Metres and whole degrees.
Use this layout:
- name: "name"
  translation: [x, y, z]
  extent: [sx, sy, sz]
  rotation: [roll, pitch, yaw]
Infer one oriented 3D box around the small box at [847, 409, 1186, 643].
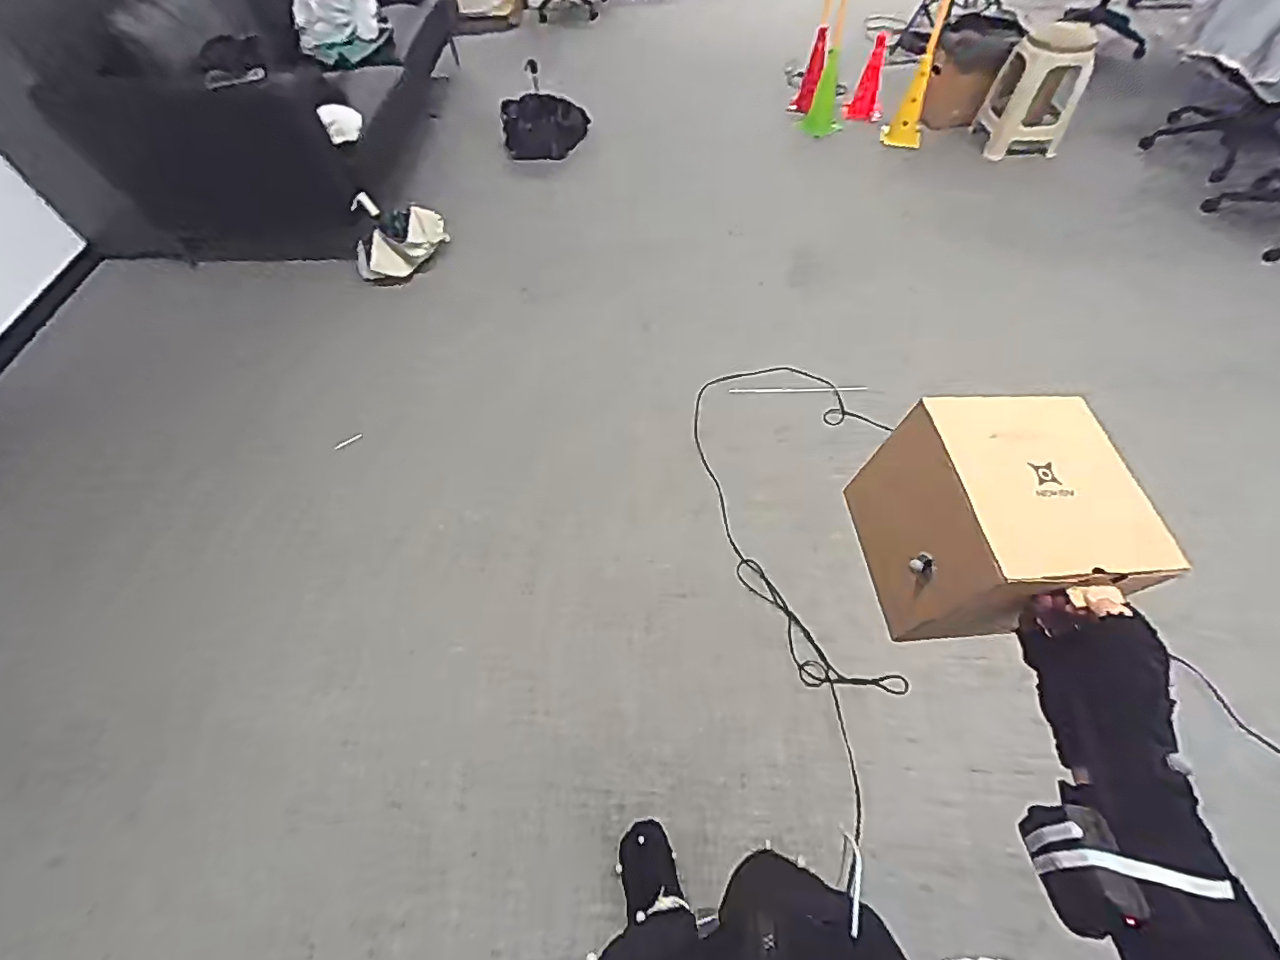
- name: "small box"
  translation: [0.327, 0.051, 0.517]
  extent: [0.168, 0.176, 0.179]
  rotation: [-1, 59, -8]
